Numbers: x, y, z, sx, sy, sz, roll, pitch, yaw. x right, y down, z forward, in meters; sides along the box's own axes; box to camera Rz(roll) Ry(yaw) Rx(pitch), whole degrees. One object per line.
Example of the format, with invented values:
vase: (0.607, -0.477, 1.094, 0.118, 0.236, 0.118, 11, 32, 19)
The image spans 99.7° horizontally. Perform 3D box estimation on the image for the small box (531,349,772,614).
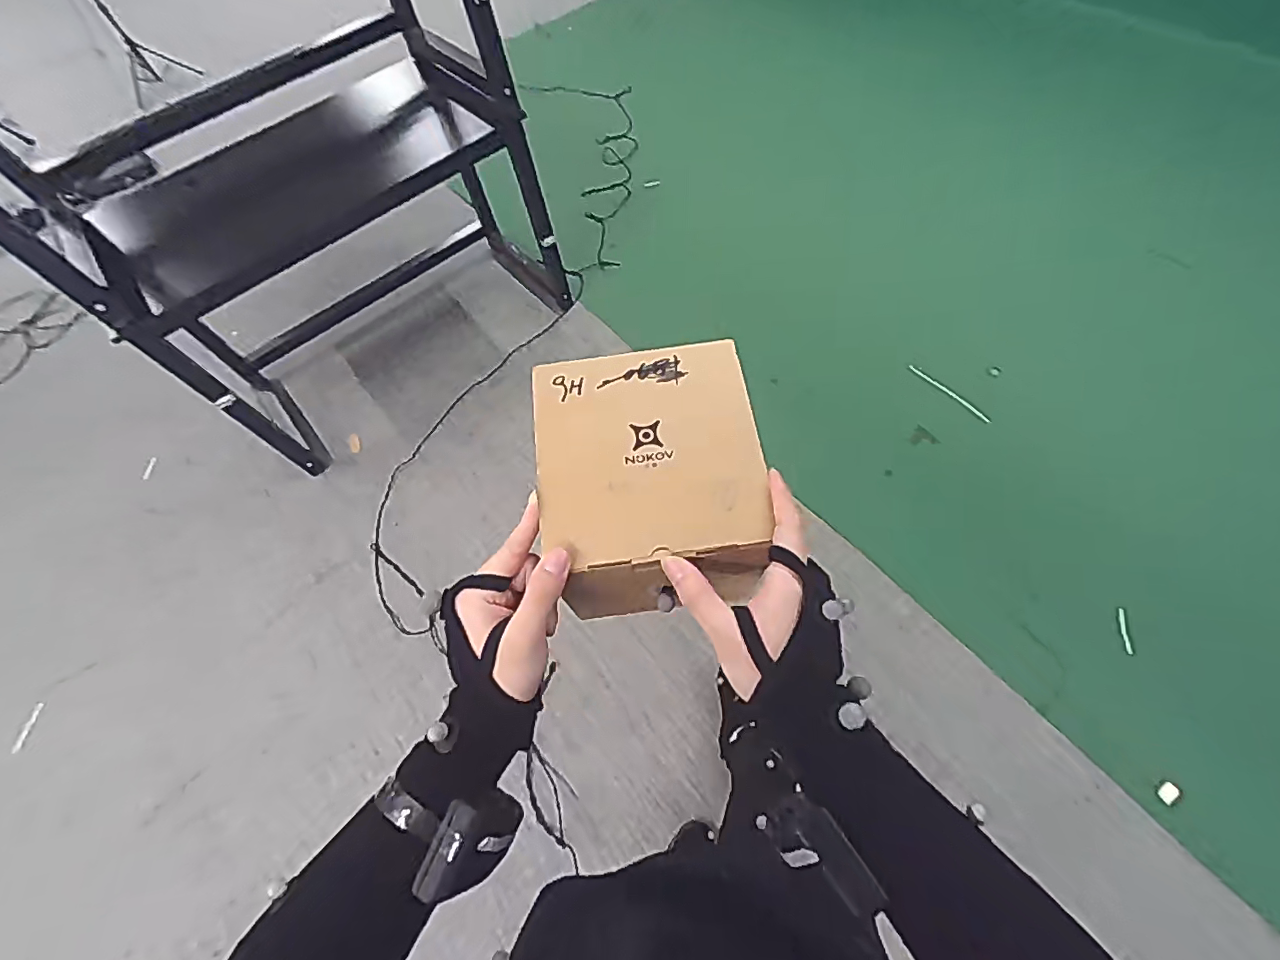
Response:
small box: (0.007, 0.015, 0.477, 0.168, 0.176, 0.179, -8, 66, -1)
